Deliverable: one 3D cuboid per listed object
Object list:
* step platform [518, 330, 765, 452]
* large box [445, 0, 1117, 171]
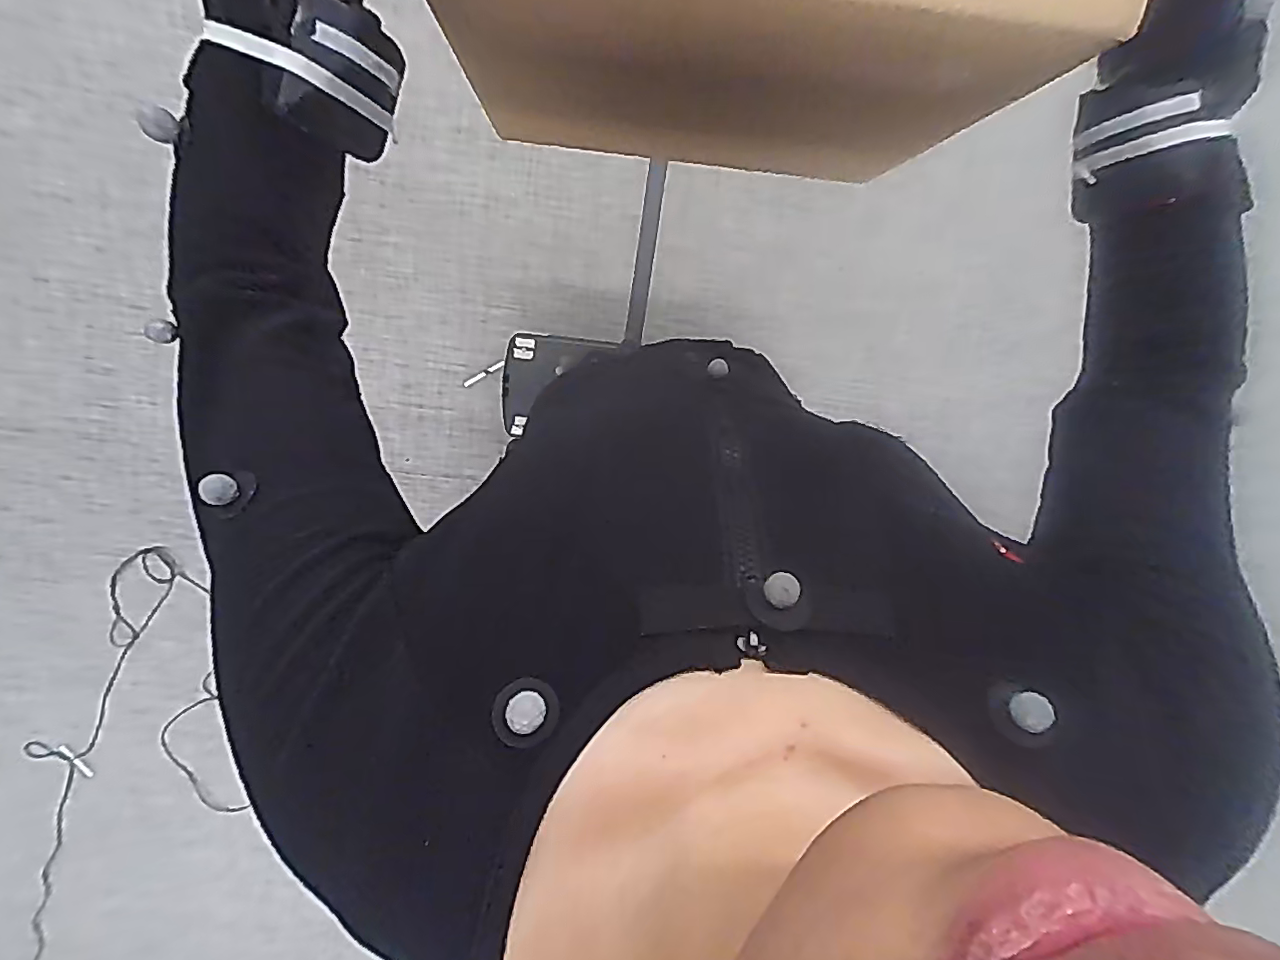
[{"bbox_3d":[0.003,-0.249,1.534,0.684,0.204,0.286,4,102,-5],"label":"step platform"},{"bbox_3d":[0.074,-0.455,0.401,0.408,0.320,0.320,3,106,-6],"label":"large box"}]
